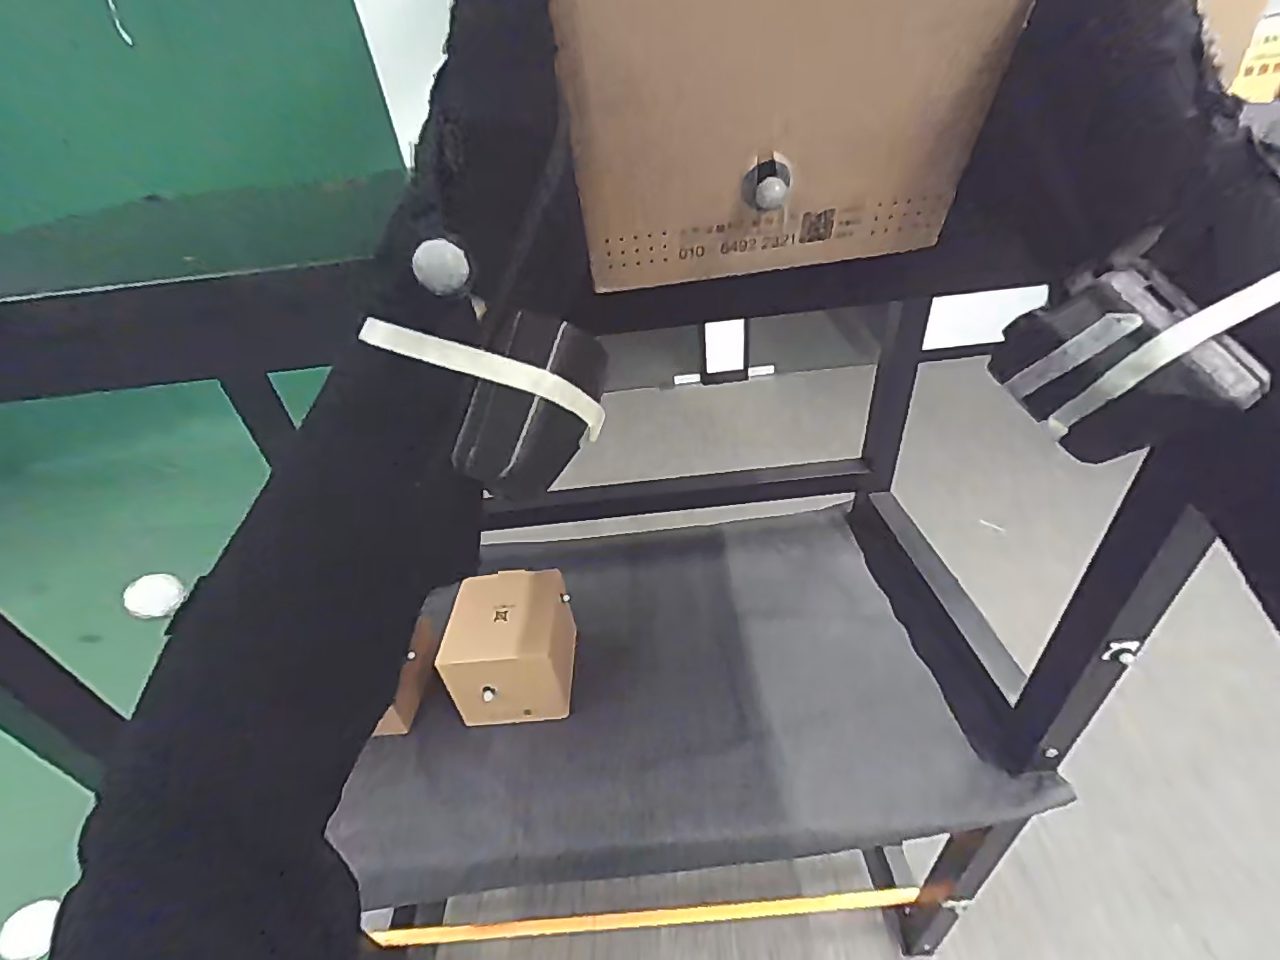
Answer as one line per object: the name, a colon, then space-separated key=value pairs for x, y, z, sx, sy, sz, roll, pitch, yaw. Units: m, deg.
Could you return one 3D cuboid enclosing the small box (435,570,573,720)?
small box: x=-0.207 y=0.273 z=0.885 sx=0.168 sy=0.176 sz=0.179 roll=-5 pitch=35 yaw=2
